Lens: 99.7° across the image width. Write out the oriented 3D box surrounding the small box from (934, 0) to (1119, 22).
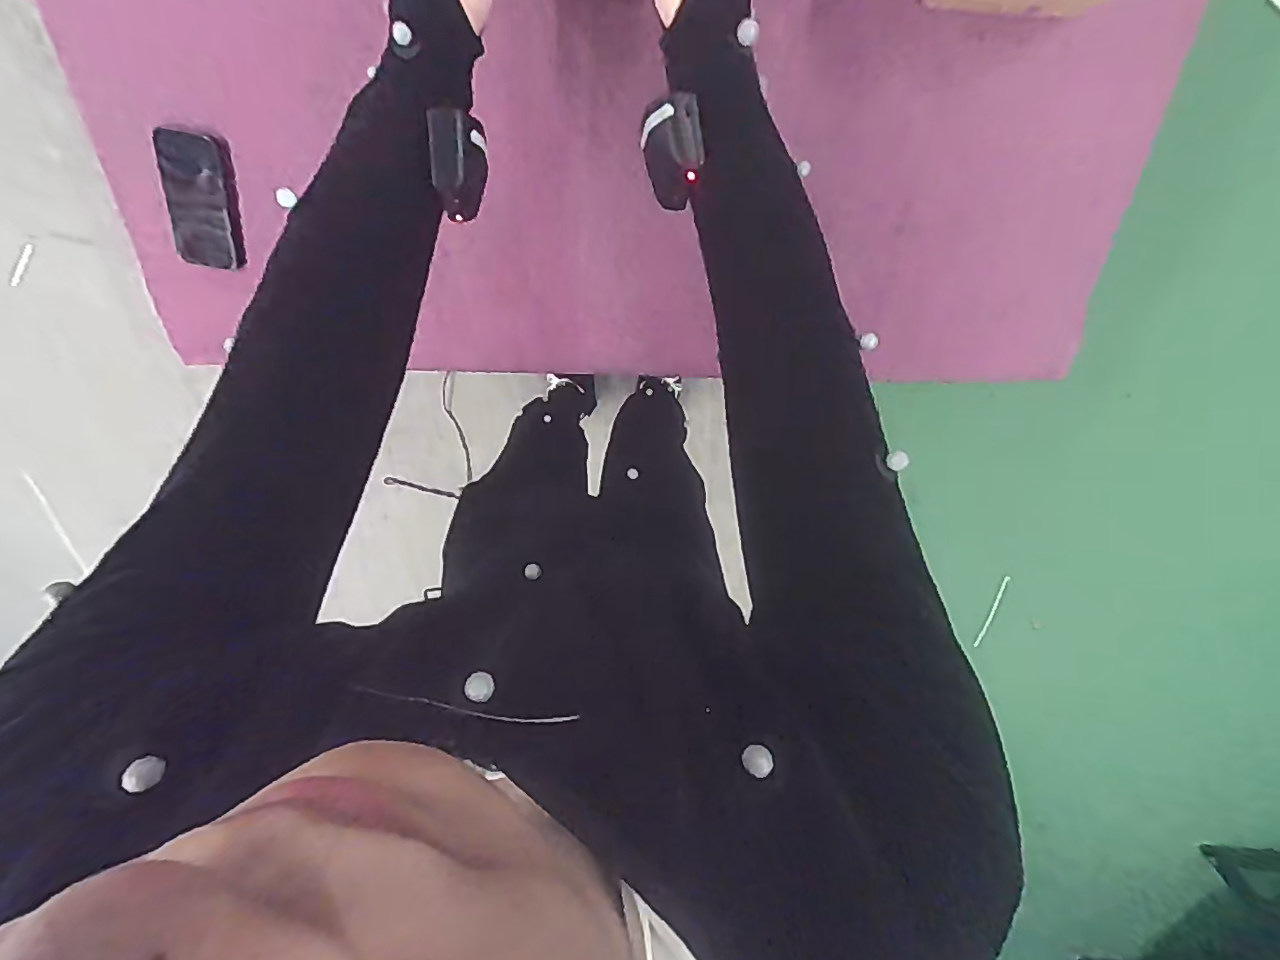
[{"bbox_3d":[0.370,-0.515,0.441,0.168,0.176,0.179,4,118,0],"label":"small box"}]
